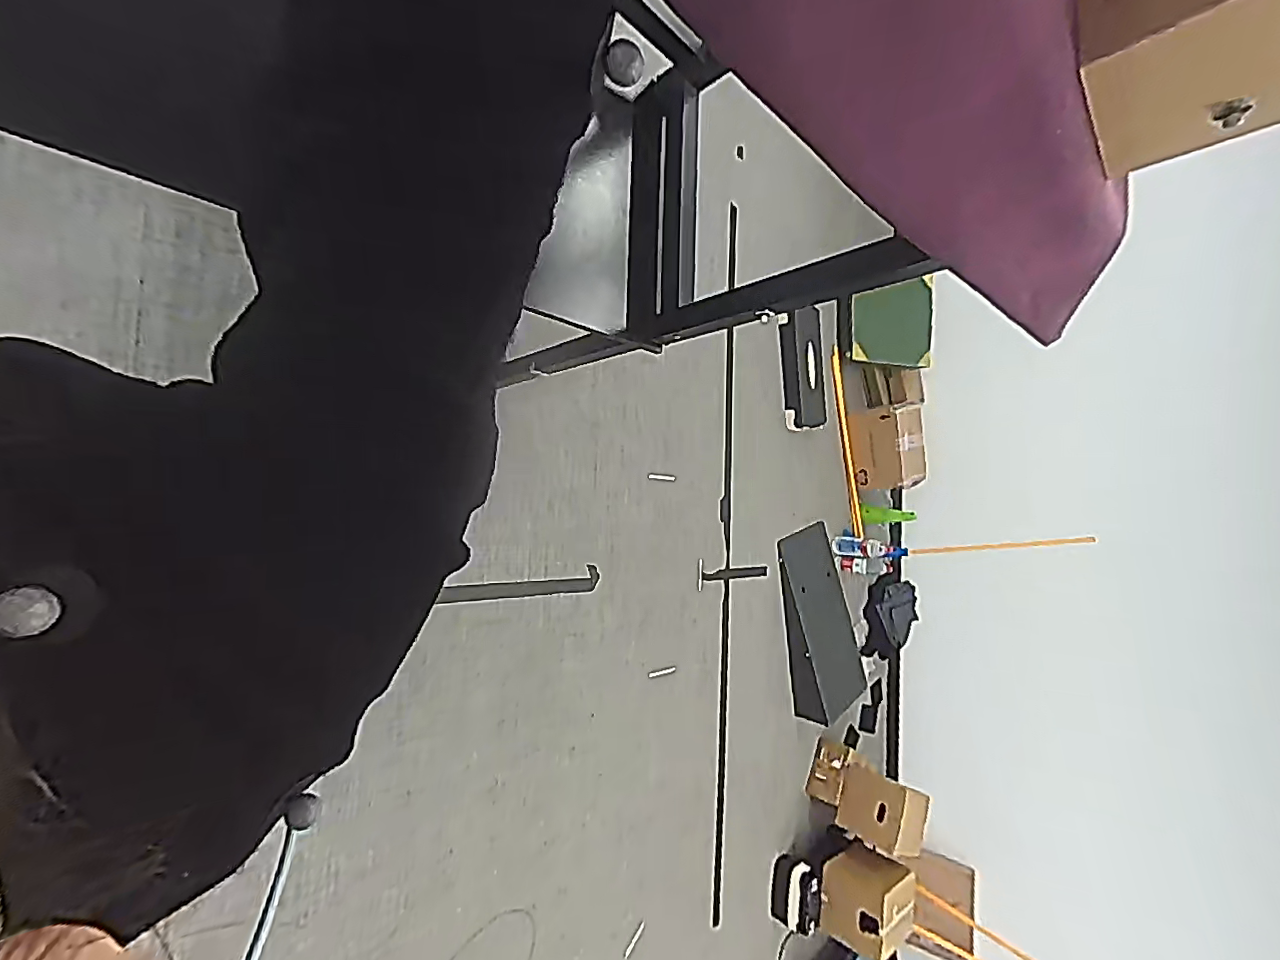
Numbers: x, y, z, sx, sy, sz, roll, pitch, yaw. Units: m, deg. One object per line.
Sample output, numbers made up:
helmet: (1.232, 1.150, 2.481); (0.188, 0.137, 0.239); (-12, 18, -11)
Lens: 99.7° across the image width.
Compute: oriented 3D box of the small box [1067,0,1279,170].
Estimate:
small box: (0.487, -0.405, 0.463); (0.179, 0.176, 0.168); (12, 79, -43)
